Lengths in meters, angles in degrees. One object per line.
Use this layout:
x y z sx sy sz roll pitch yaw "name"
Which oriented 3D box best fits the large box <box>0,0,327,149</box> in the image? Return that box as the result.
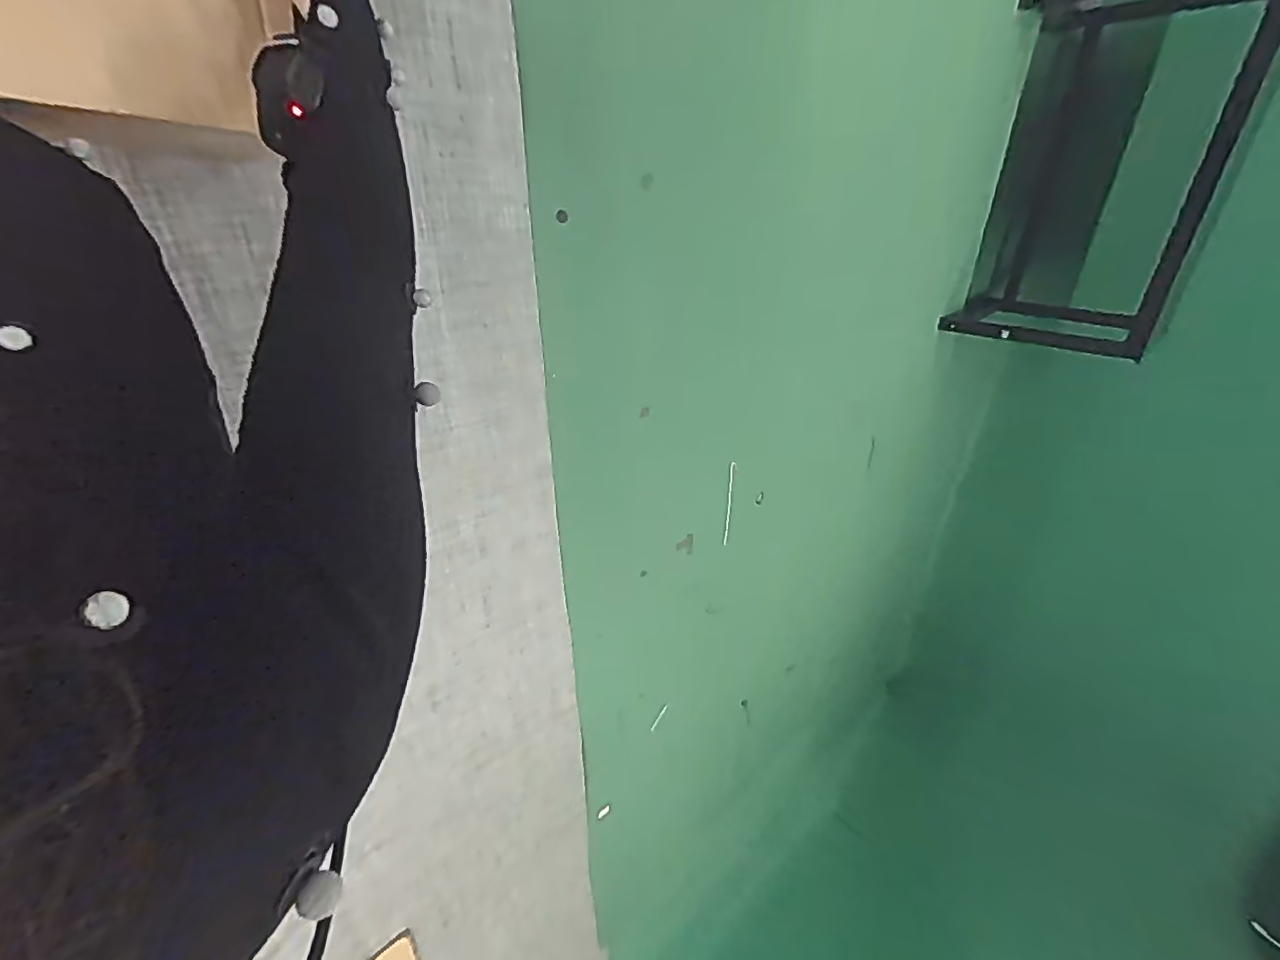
-0.521 -0.448 0.391 0.408 0.320 0.320 -20 125 -41 "large box"
